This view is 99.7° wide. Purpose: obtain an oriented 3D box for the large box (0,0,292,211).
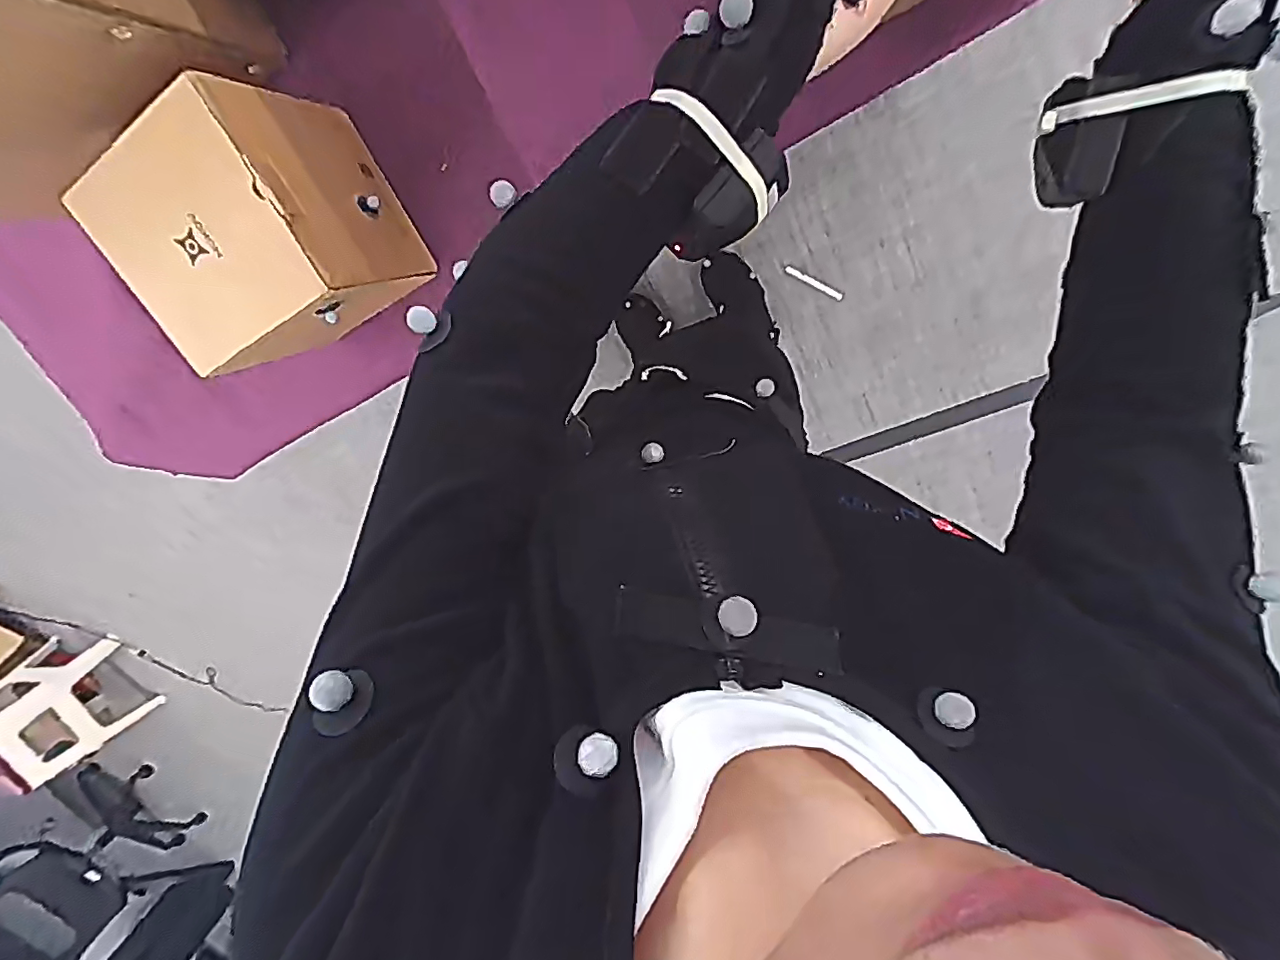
[{"bbox_3d":[-0.569,-0.450,0.364,0.320,0.320,0.408,-20,114,20],"label":"large box"}]
